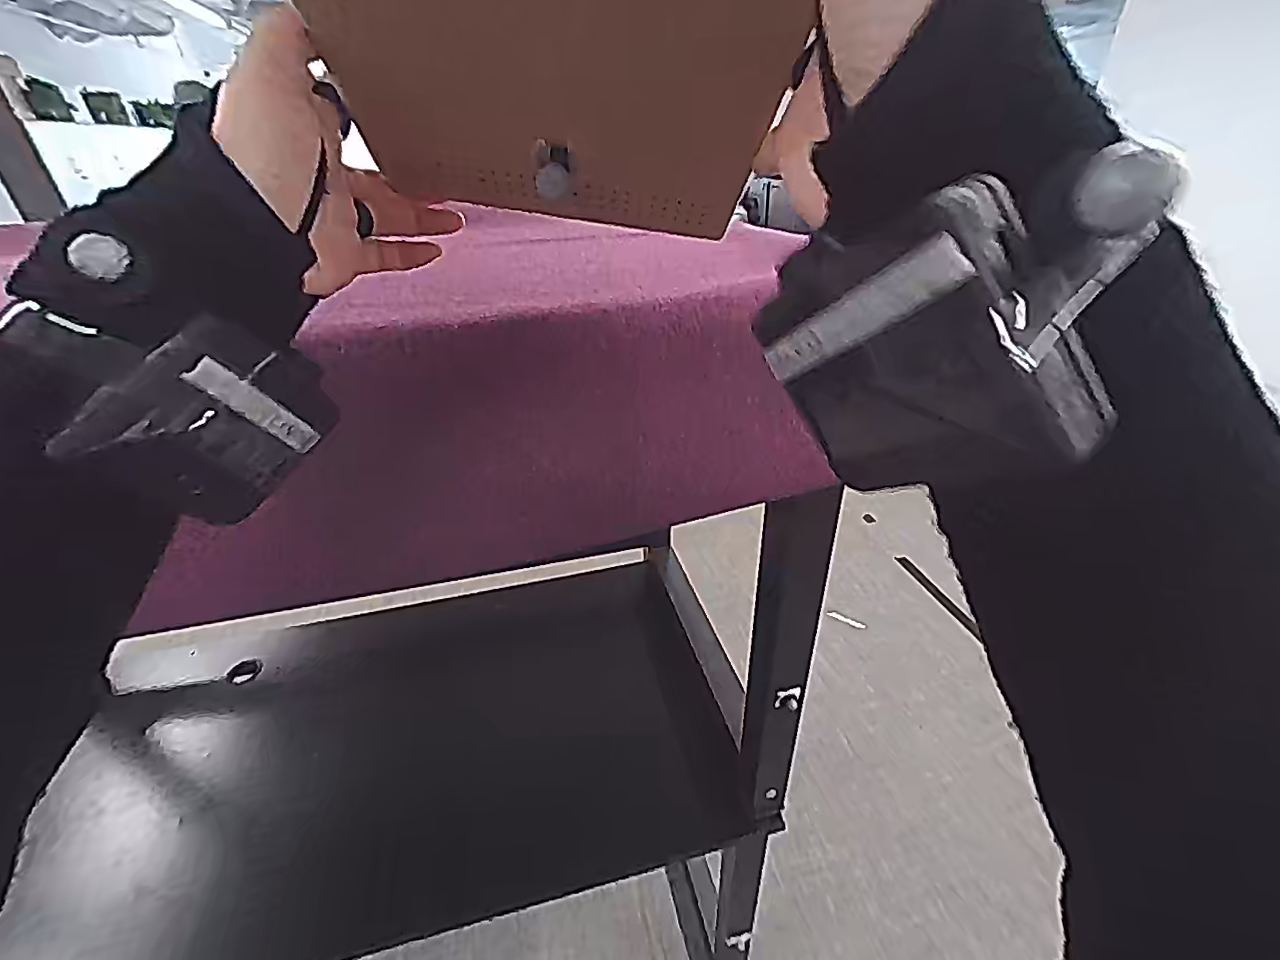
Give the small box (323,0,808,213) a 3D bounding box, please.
[{"bbox_3d":[-0.023,-0.239,0.218,0.179,0.168,0.176,6,-11,-5],"label":"small box"}]
